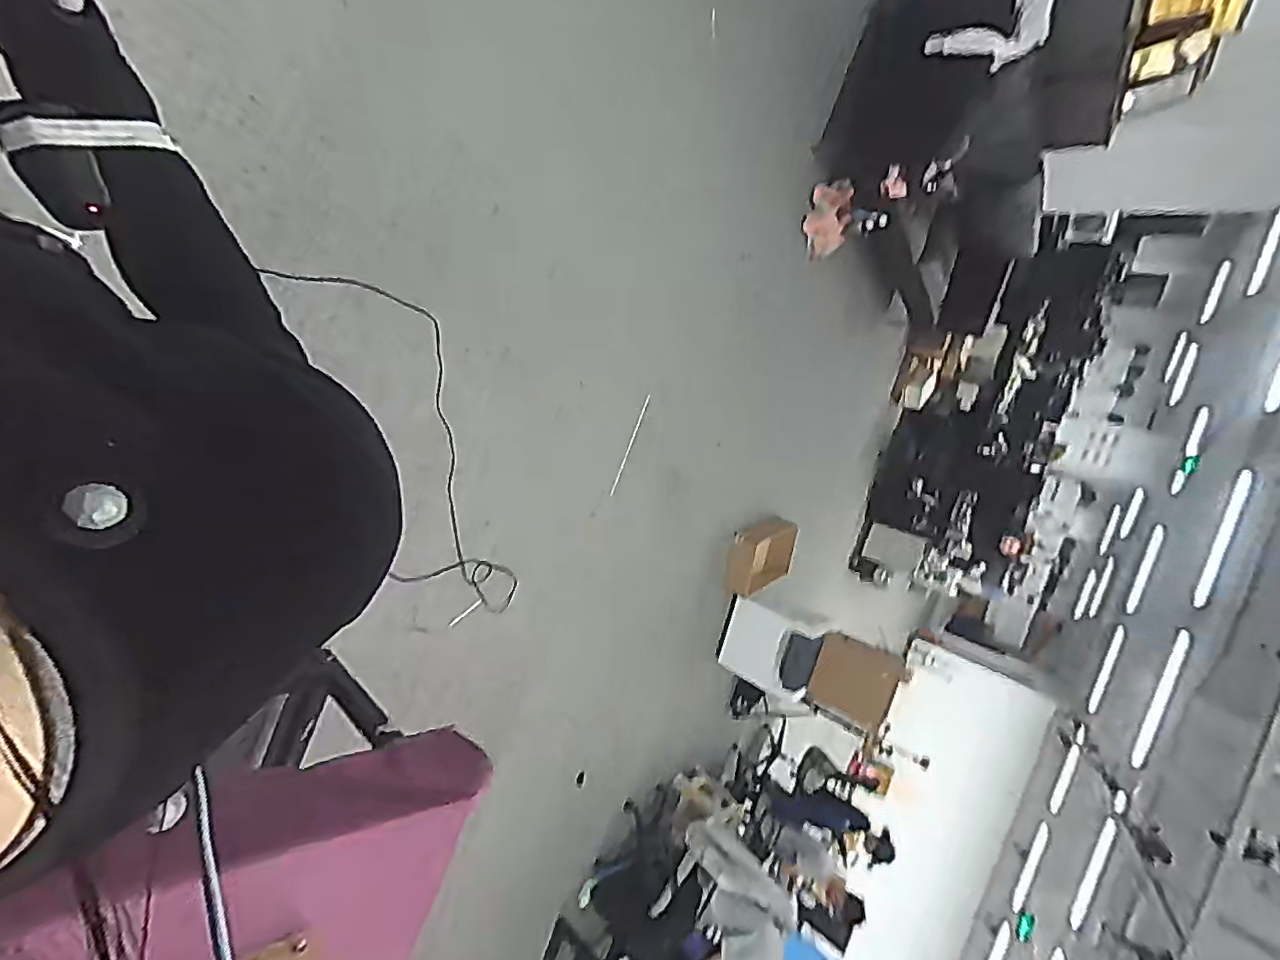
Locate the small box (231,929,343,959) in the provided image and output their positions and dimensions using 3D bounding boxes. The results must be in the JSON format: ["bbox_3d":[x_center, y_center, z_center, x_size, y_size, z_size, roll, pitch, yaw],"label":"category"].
[{"bbox_3d":[-0.591,0.881,0.870,0.168,0.176,0.179,21,91,-53],"label":"small box"}]
